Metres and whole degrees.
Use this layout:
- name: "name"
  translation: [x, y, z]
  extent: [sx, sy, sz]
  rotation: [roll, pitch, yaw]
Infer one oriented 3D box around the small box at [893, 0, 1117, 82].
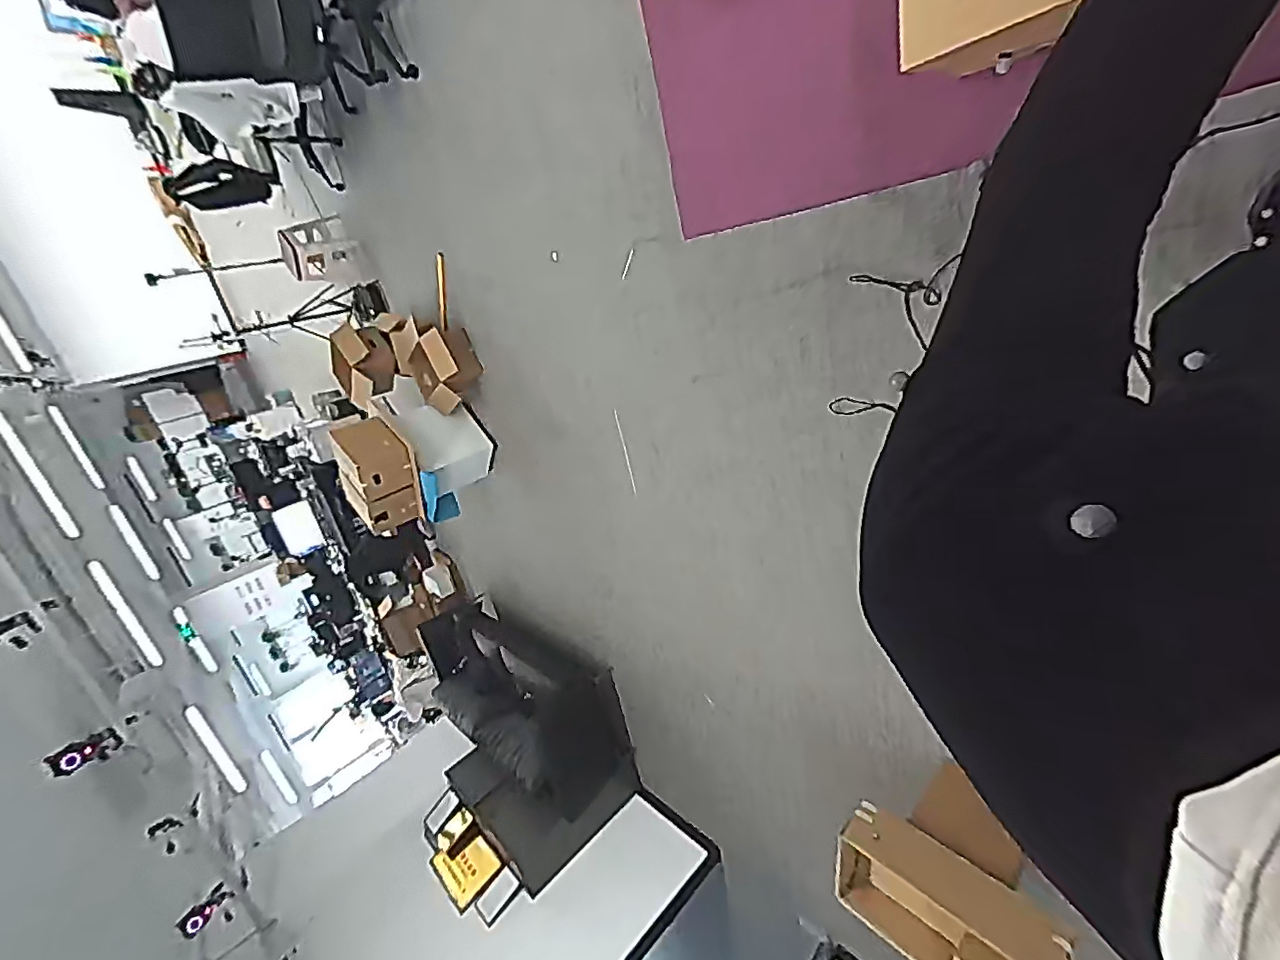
- name: "small box"
  translation: [0.378, -0.544, 0.556]
  extent: [0.168, 0.176, 0.179]
  rotation: [12, 121, 47]
